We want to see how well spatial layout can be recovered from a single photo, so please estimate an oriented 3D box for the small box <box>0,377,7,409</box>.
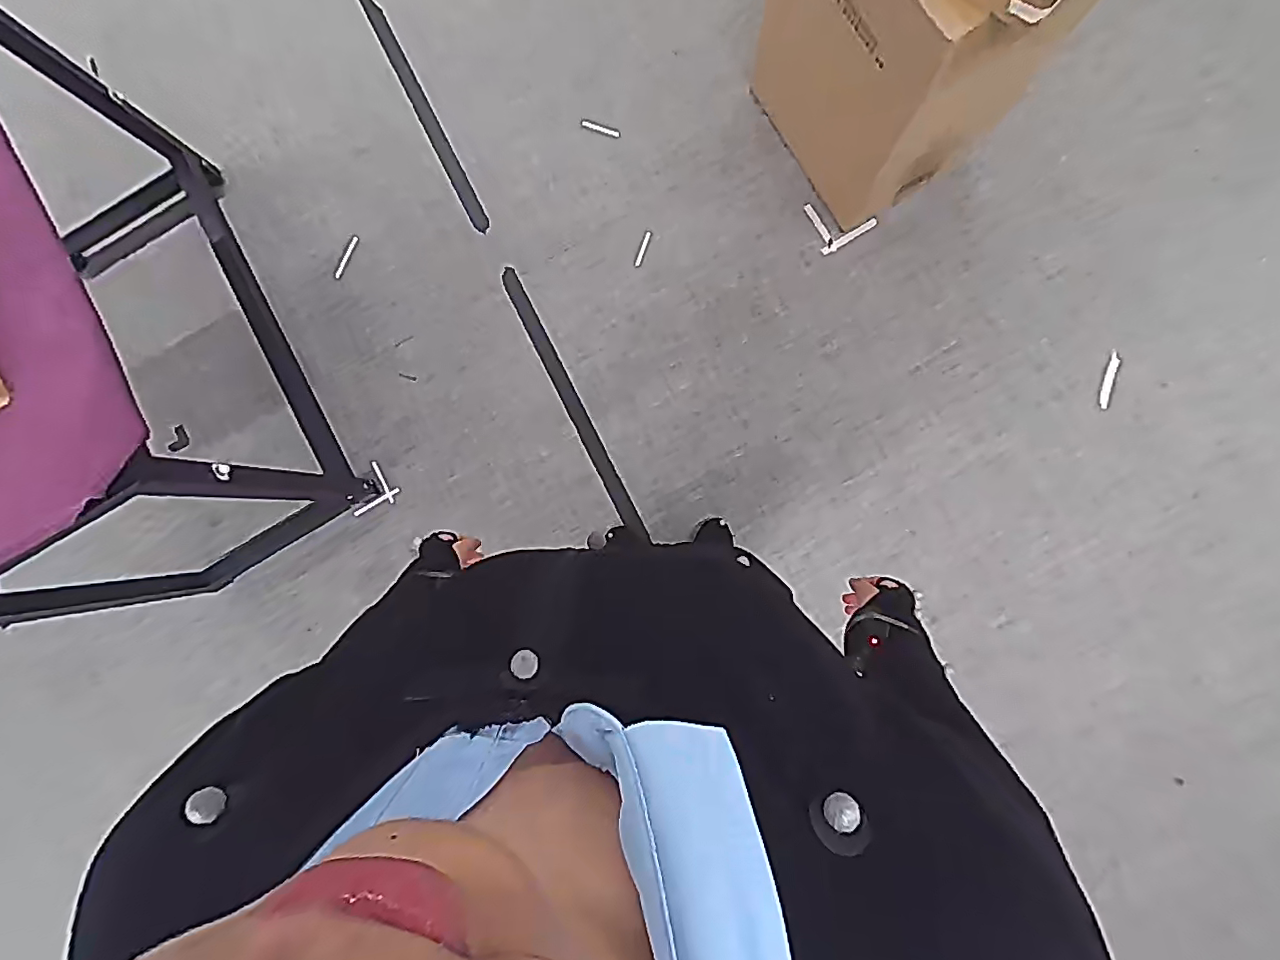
[{"bbox_3d":[-1.140,-0.162,0.814,0.168,0.176,0.179,-32,84,2],"label":"small box"}]
